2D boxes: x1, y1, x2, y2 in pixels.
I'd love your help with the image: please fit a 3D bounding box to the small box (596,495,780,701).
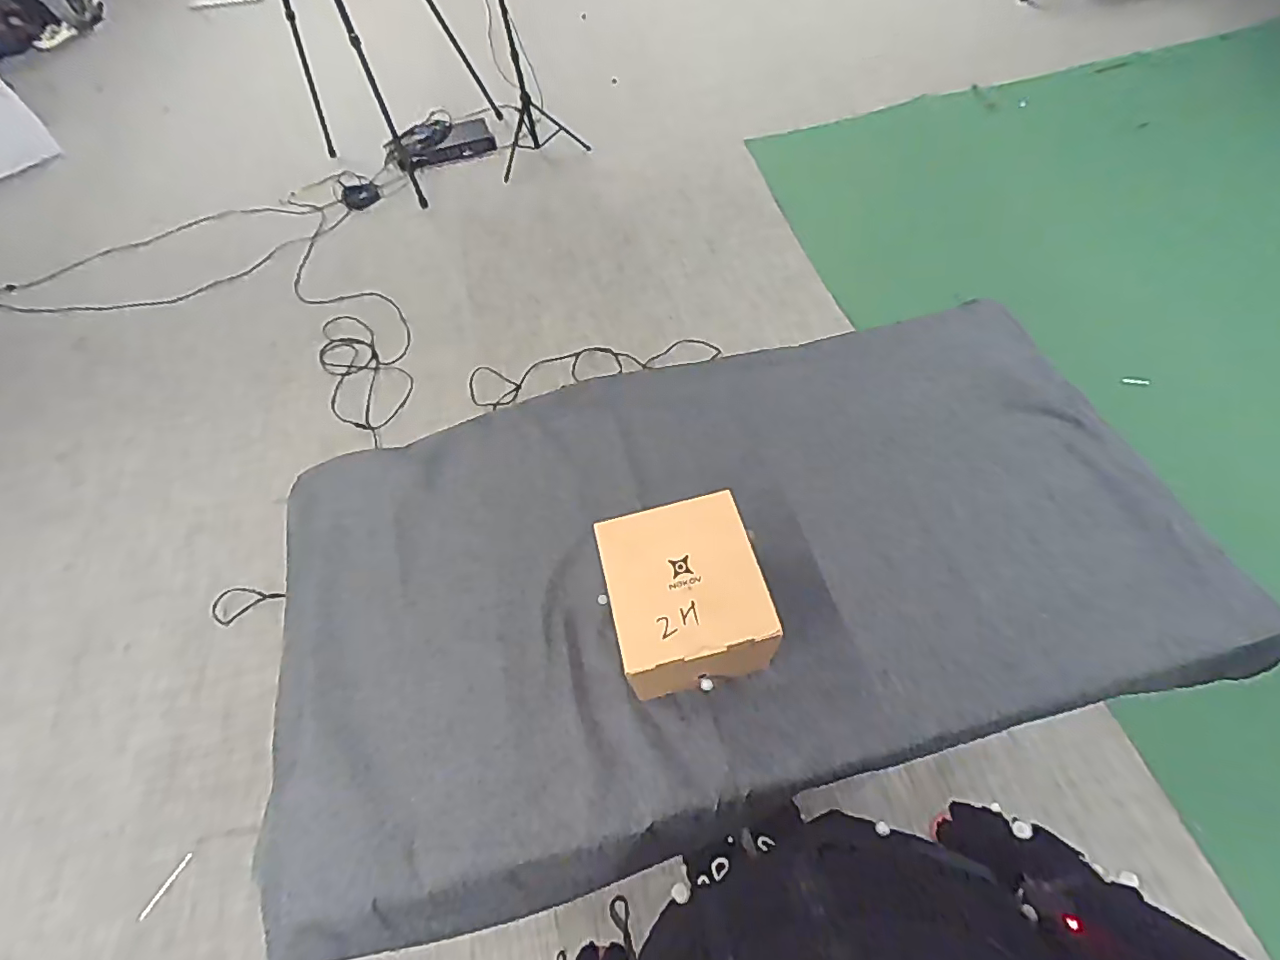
[{"bbox_3d":[0.051,0.147,0.650,0.168,0.176,0.179,-14,60,-2],"label":"small box"}]
